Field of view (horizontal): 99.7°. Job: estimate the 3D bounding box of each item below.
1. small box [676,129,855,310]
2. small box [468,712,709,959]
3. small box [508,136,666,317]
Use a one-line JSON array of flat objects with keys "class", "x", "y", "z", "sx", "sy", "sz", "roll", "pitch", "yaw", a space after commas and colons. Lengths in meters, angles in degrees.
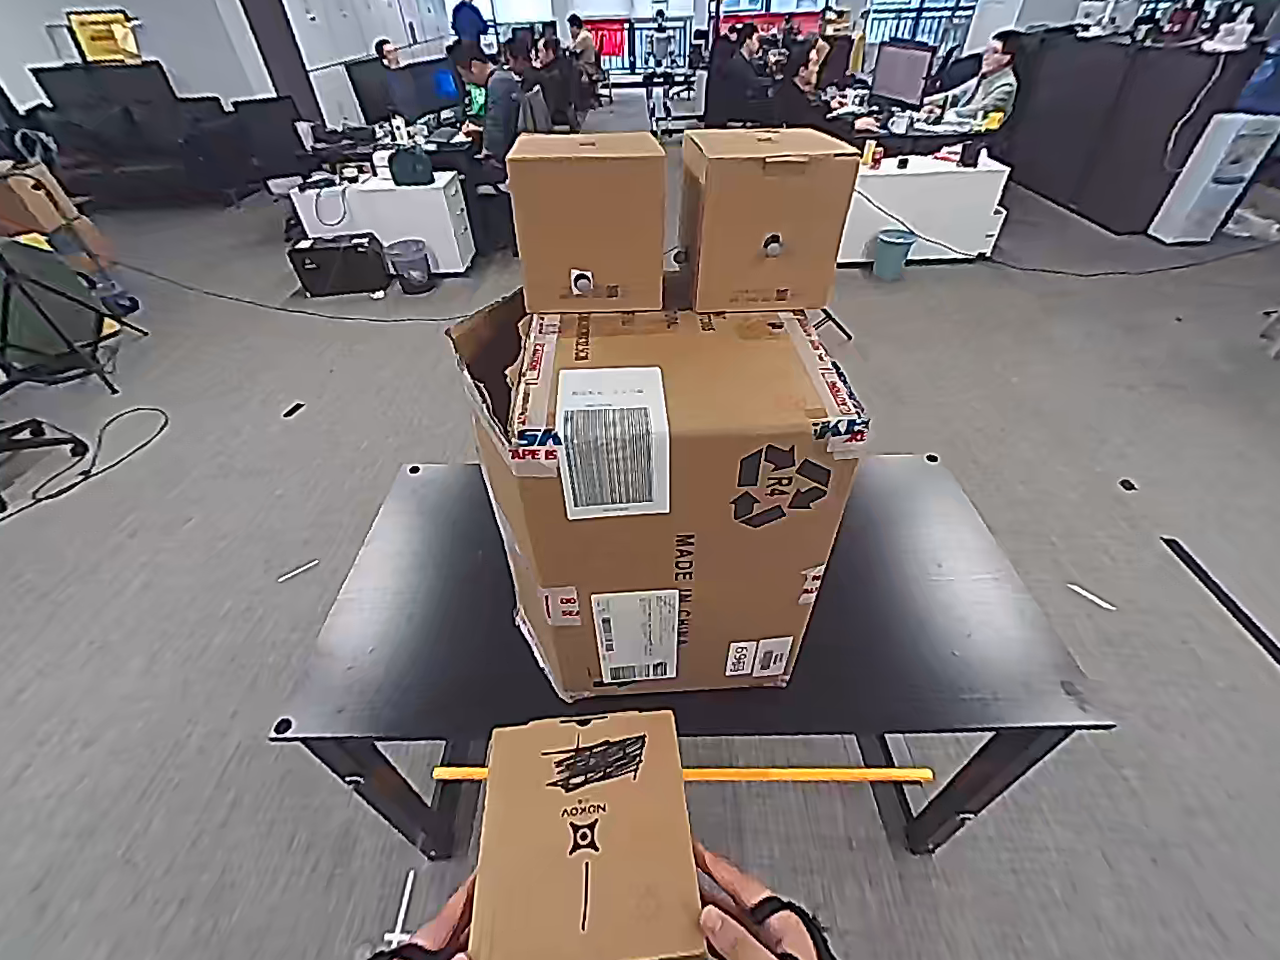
[{"class": "small box", "x": 0.139, "y": -0.322, "z": 0.672, "sx": 0.168, "sy": 0.176, "sz": 0.179, "roll": -2, "pitch": 41, "yaw": -4}, {"class": "small box", "x": -0.038, "y": 0.336, "z": 0.476, "sx": 0.168, "sy": 0.176, "sz": 0.179, "roll": -6, "pitch": 37, "yaw": -3}, {"class": "small box", "x": -0.061, "y": -0.315, "z": 0.670, "sx": 0.168, "sy": 0.176, "sz": 0.179, "roll": -5, "pitch": 40, "yaw": -4}]
